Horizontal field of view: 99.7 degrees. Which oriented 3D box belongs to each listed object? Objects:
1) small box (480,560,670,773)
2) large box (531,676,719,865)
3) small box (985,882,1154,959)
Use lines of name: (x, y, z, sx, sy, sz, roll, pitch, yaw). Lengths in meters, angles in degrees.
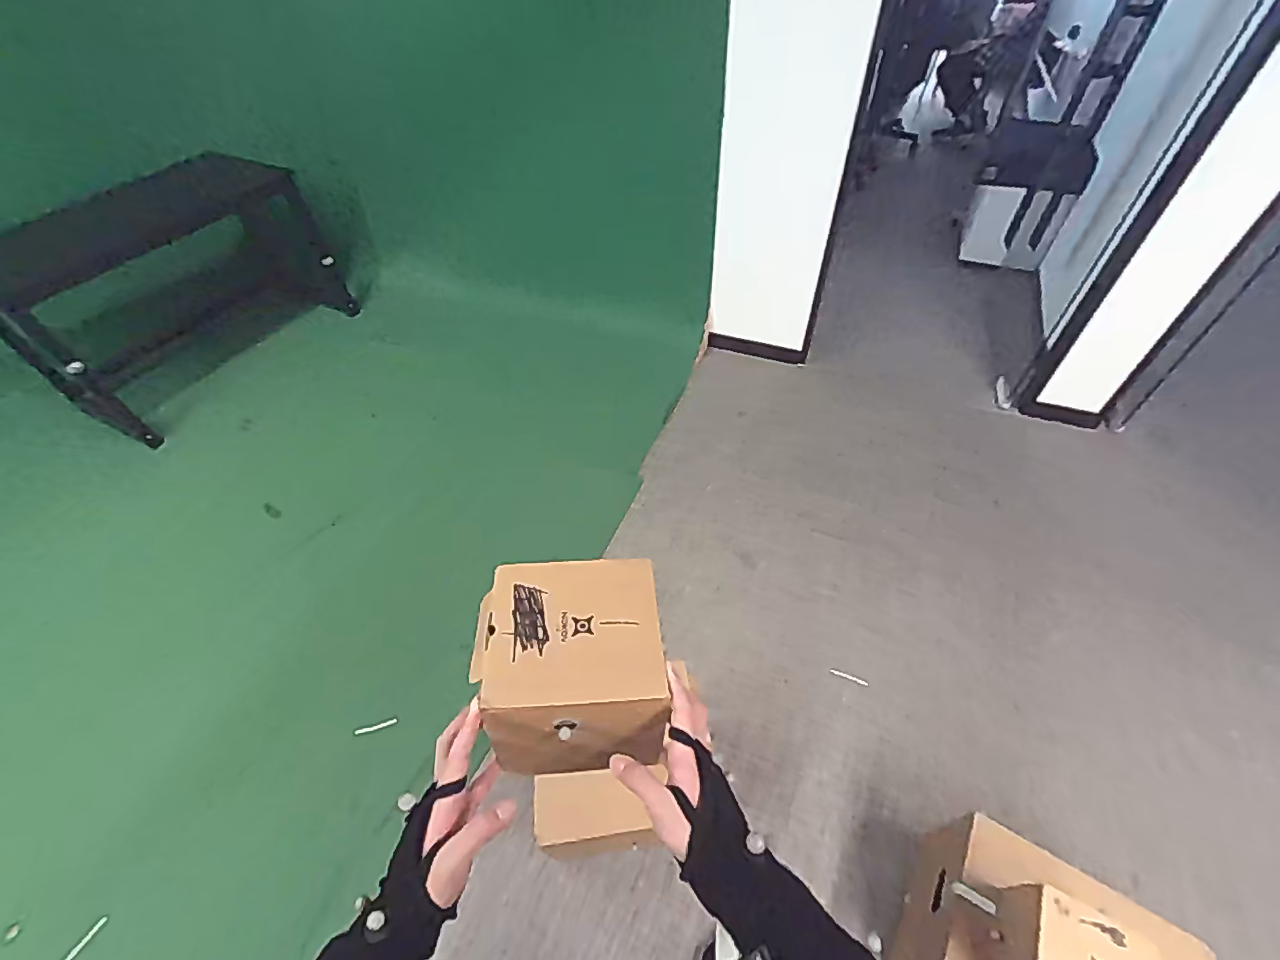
small box: (-0.066, 0.208, 0.601, 0.179, 0.176, 0.168, -2, 43, -6)
large box: (-0.042, 0.721, 1.339, 0.408, 0.320, 0.320, -8, 49, -4)
small box: (0.705, 0.818, 0.903, 0.168, 0.176, 0.179, 23, 56, 20)
